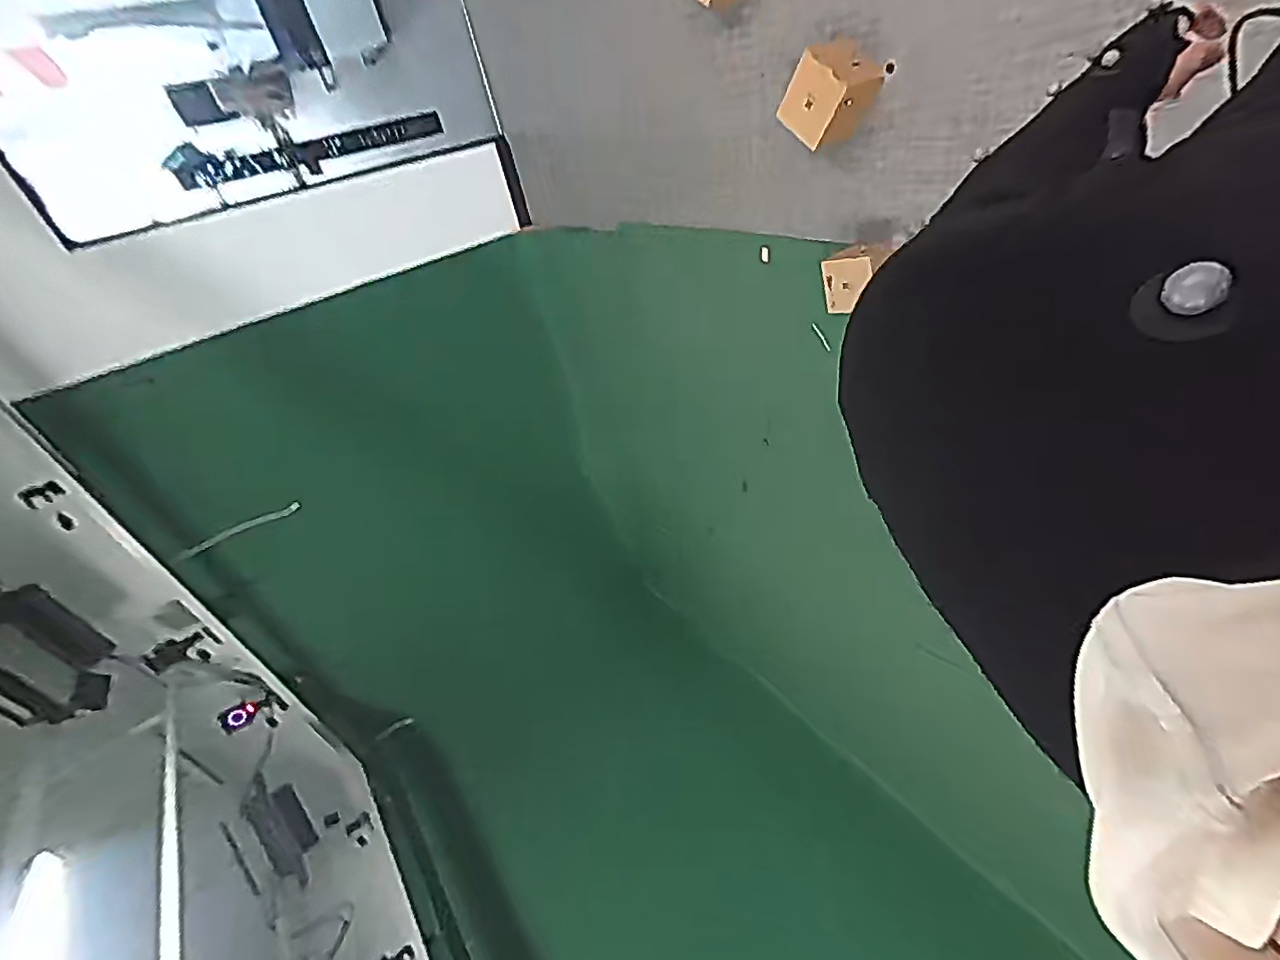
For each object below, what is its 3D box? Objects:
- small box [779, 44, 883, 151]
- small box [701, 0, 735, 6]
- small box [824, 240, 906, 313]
[{"bbox_3d":[0.526,-1.057,1.491,0.168,0.176,0.179,52,153,13],"label":"small box"},{"bbox_3d":[0.227,-1.495,1.536,0.179,0.176,0.168,50,154,16],"label":"small box"},{"bbox_3d":[0.698,-0.625,1.663,0.179,0.176,0.168,21,137,52],"label":"small box"}]
